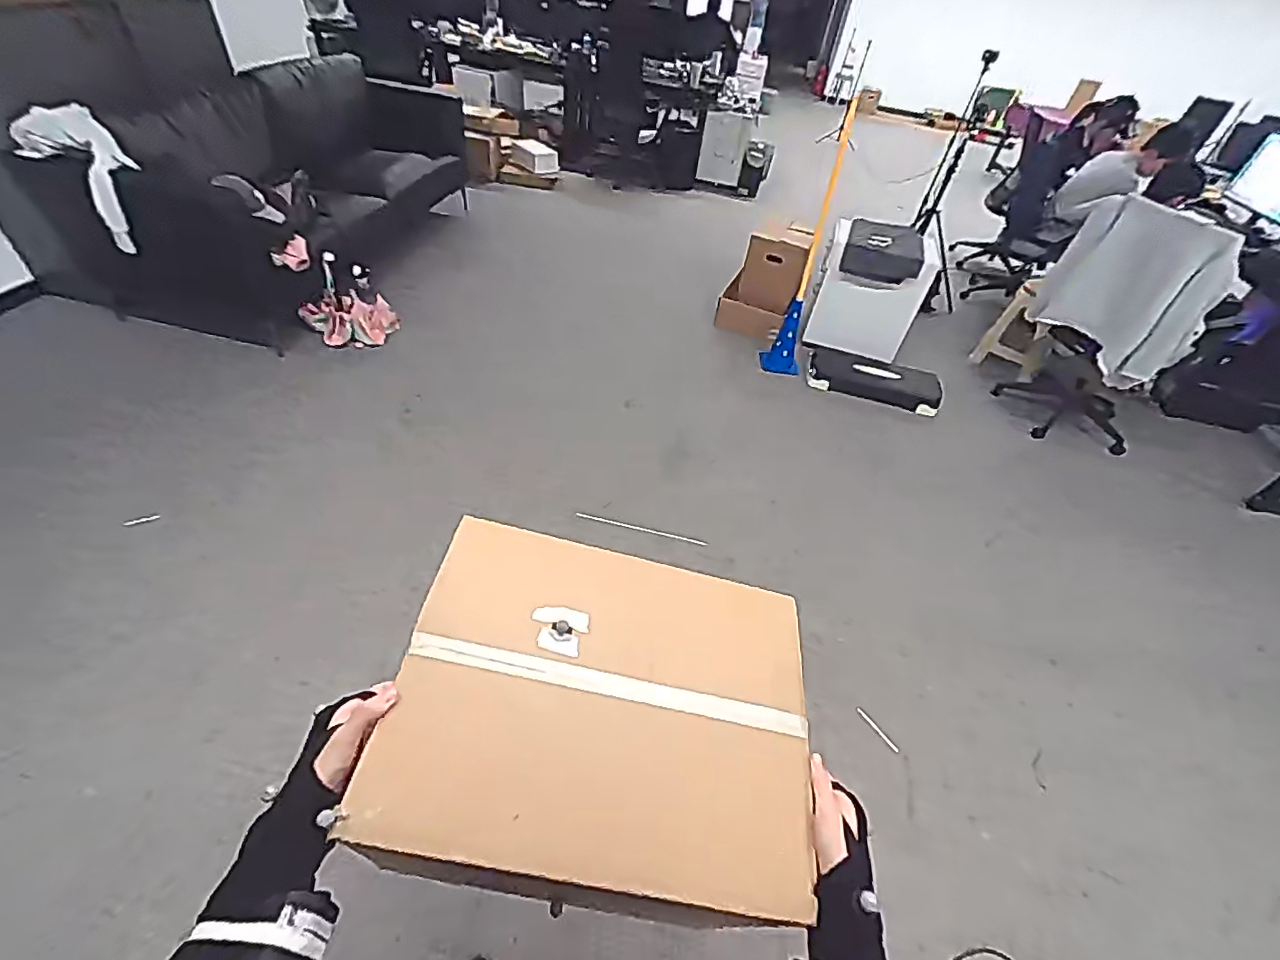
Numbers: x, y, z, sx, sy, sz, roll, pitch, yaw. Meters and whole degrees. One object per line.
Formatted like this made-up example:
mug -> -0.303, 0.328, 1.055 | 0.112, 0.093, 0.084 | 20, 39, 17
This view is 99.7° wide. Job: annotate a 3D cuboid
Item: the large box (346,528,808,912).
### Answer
large box -> -0.059, 0.304, 0.659 | 0.408, 0.320, 0.320 | 14, 48, -5
